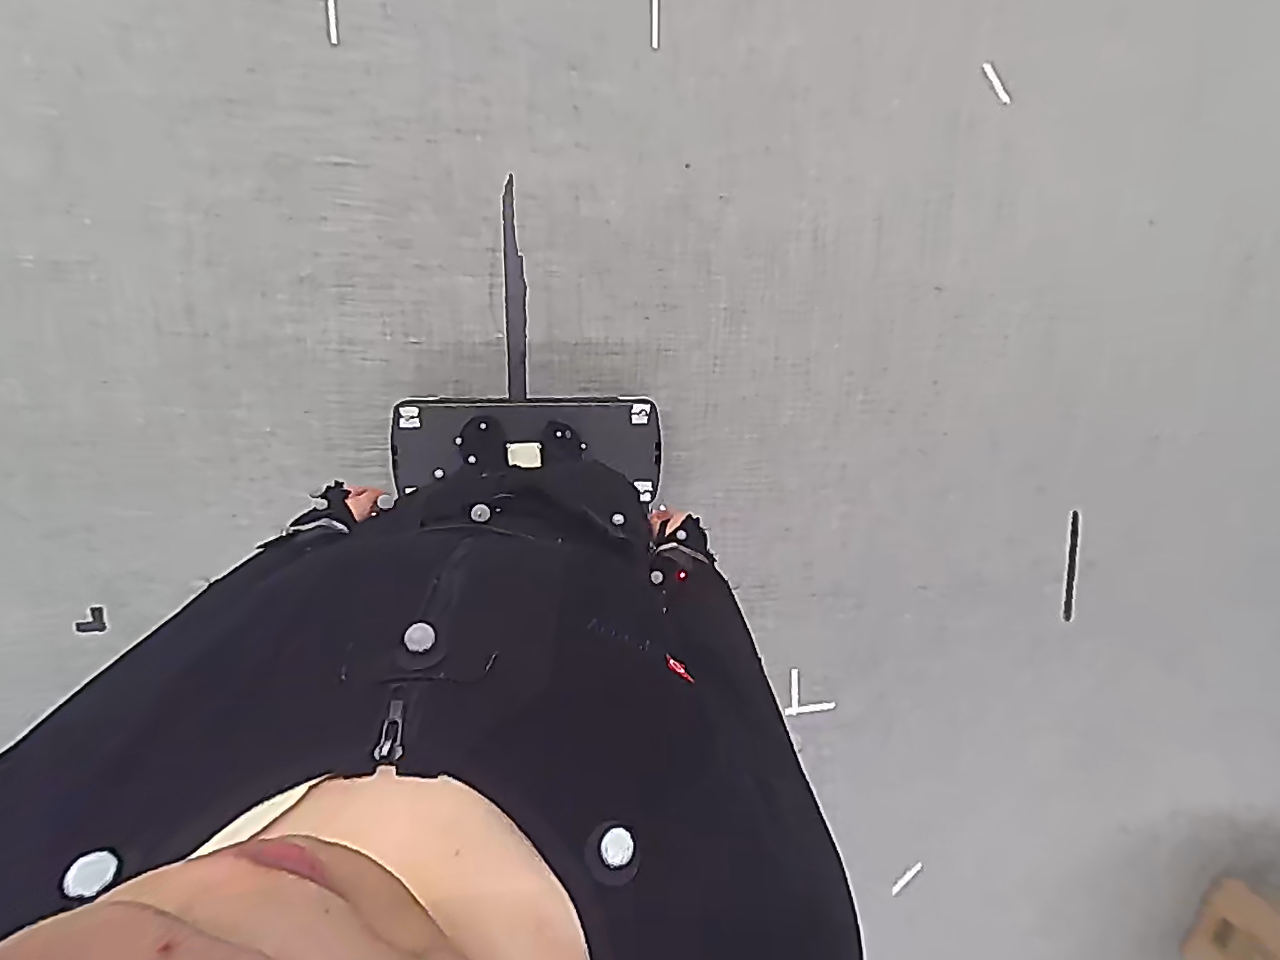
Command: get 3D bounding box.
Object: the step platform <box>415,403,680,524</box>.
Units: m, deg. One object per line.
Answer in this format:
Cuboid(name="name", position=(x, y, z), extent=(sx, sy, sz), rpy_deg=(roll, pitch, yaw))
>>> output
Cuboid(name="step platform", position=(-0.235, -0.043, 1.449), extent=(0.684, 0.204, 0.286), rpy_deg=(3, 96, -9))
